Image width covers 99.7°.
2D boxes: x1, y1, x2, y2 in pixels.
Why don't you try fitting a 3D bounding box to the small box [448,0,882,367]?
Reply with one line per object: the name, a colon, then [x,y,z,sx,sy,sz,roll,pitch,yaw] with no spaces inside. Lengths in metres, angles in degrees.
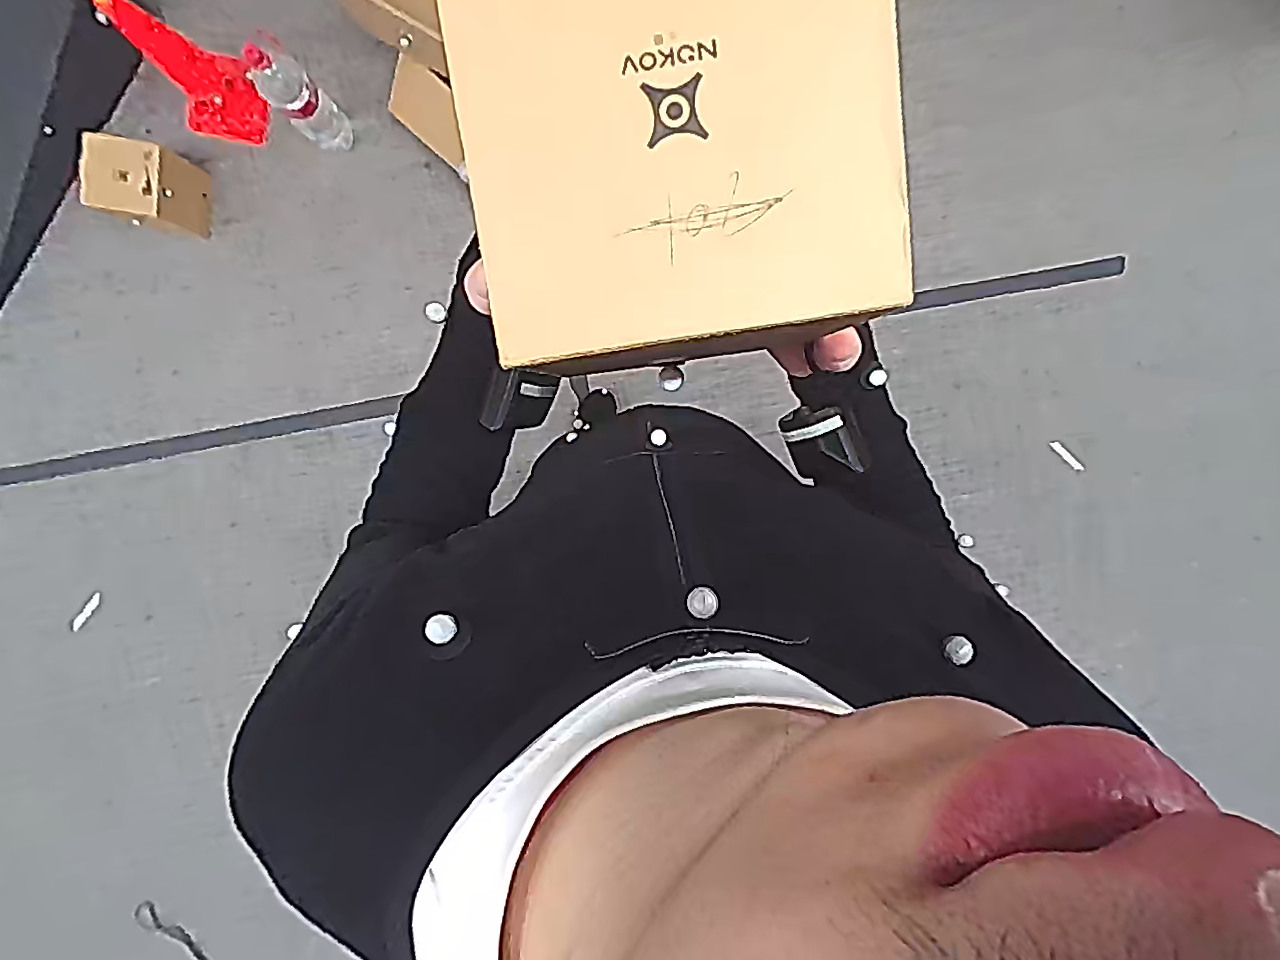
small box: [0.013,-0.162,0.293,0.168,0.176,0.179,-6,99,4]
